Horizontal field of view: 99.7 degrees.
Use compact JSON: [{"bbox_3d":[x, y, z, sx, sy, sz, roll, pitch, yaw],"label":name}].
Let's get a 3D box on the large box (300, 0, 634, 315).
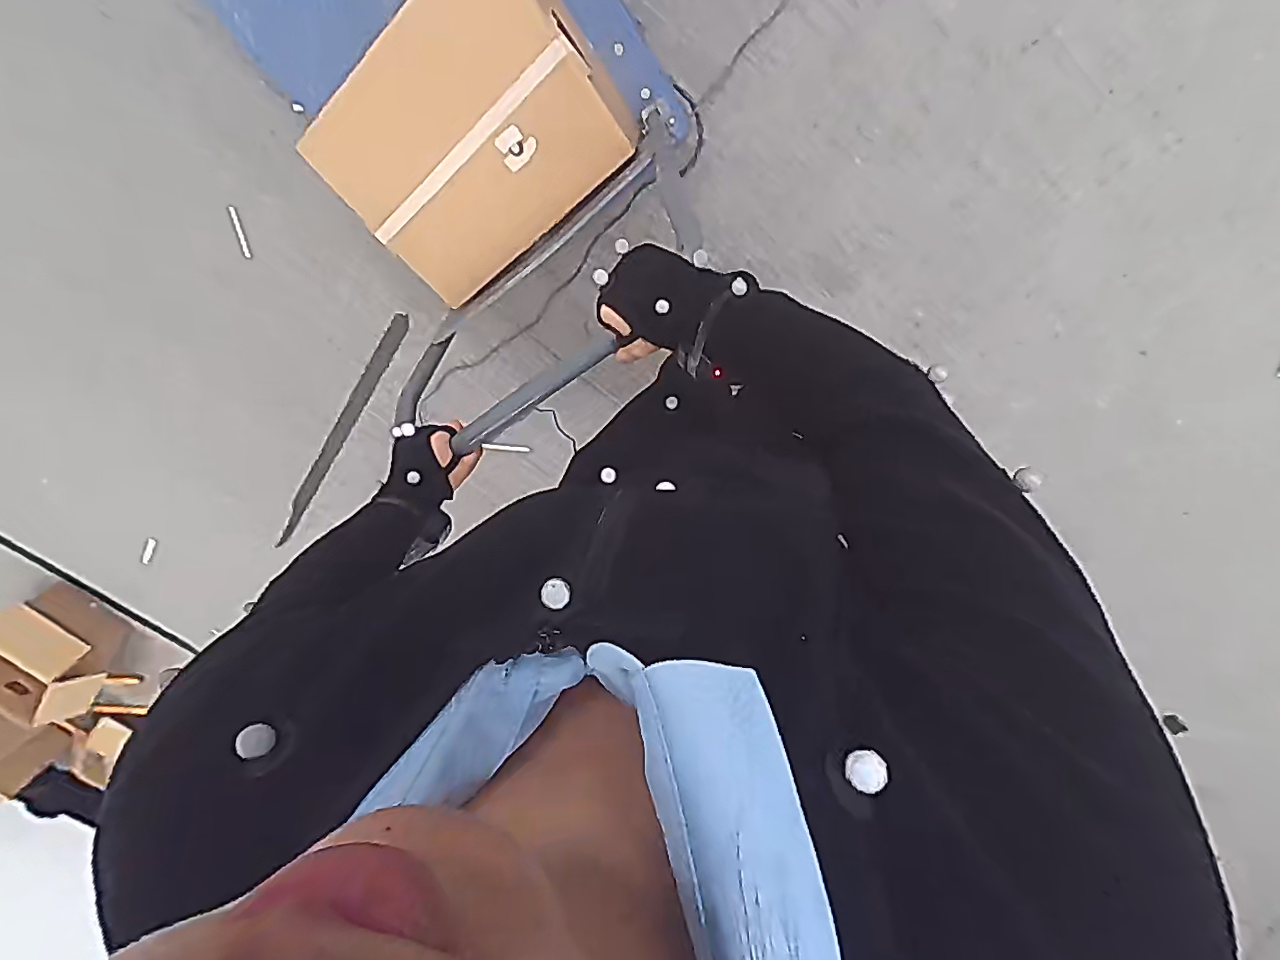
[{"bbox_3d":[-0.259,-0.564,0.911,0.408,0.320,0.320,-31,122,23],"label":"large box"}]
